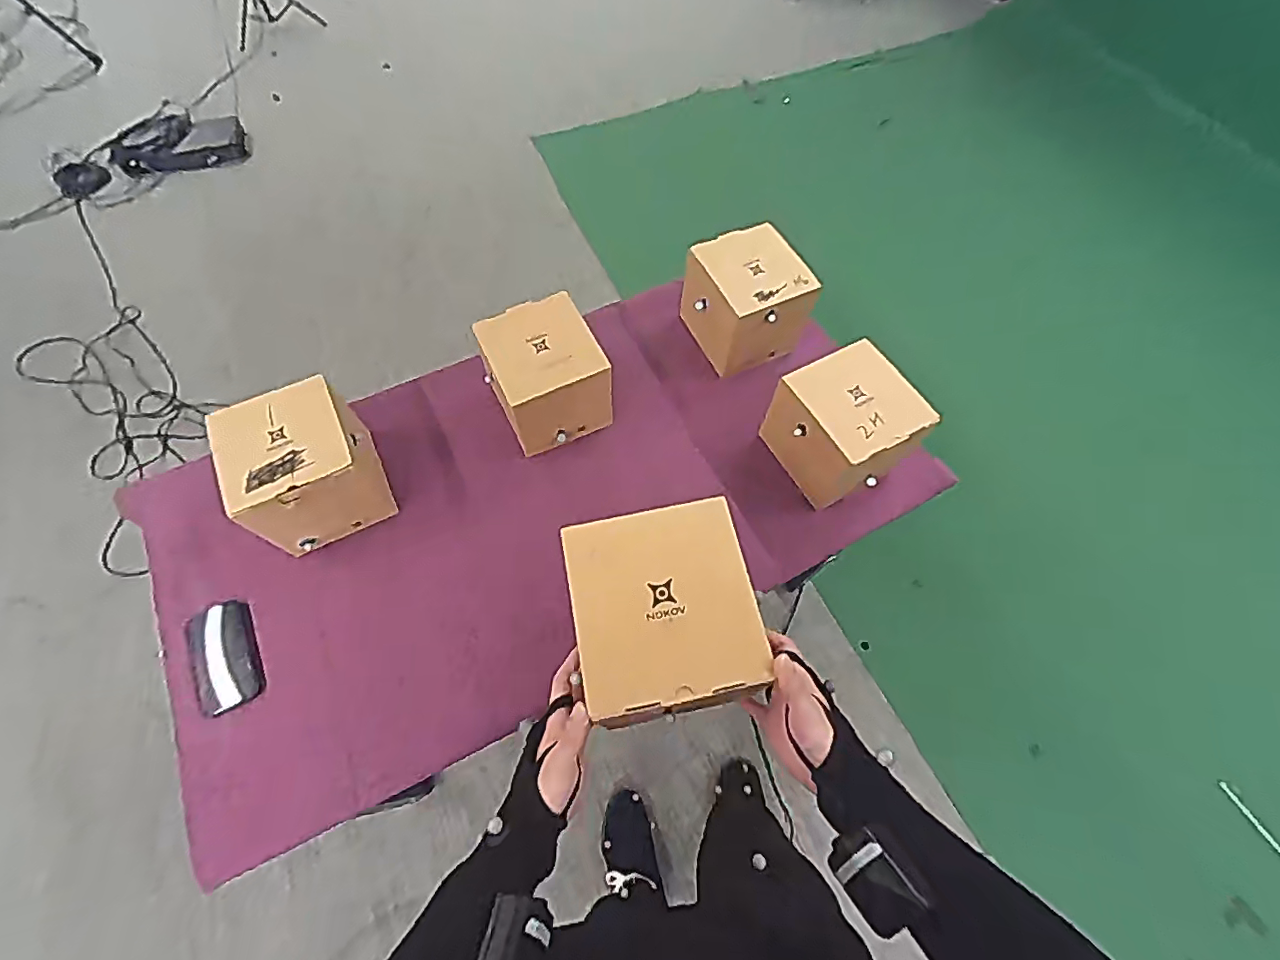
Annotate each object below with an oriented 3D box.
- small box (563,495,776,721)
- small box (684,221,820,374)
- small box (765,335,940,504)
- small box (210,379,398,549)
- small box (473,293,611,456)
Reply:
[{"bbox_3d":[0.022,0.140,0.563,0.168,0.176,0.179,-12,65,-4],"label":"small box"},{"bbox_3d":[0.191,-0.328,0.987,0.168,0.176,0.179,-24,66,-11],"label":"small box"},{"bbox_3d":[0.323,-0.091,0.868,0.168,0.176,0.179,-26,67,-12],"label":"small box"},{"bbox_3d":[-0.497,-0.013,0.821,0.168,0.176,0.179,-26,67,-13],"label":"small box"},{"bbox_3d":[-0.157,-0.171,0.907,0.168,0.176,0.179,-25,68,-12],"label":"small box"}]
